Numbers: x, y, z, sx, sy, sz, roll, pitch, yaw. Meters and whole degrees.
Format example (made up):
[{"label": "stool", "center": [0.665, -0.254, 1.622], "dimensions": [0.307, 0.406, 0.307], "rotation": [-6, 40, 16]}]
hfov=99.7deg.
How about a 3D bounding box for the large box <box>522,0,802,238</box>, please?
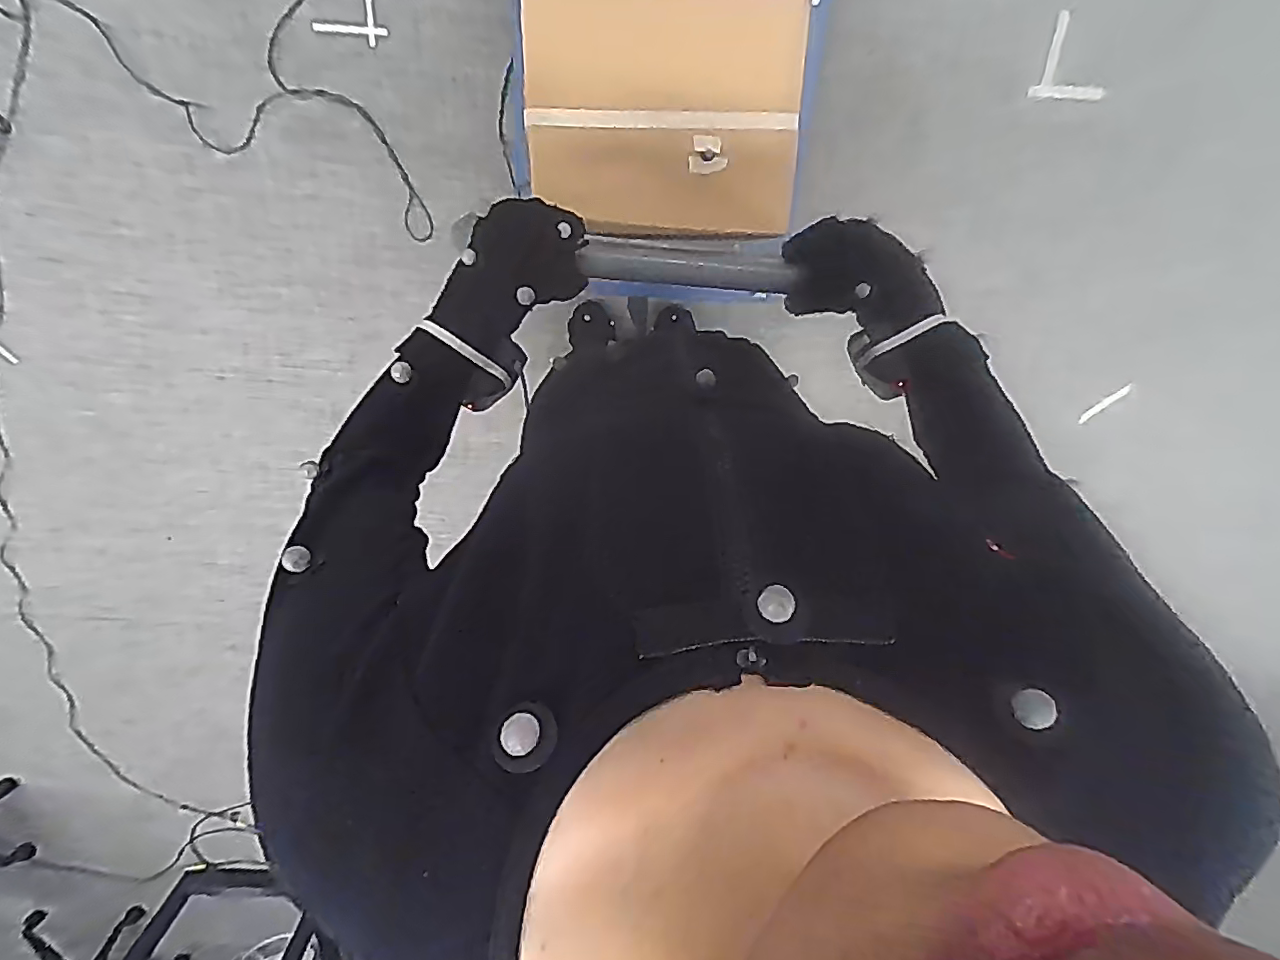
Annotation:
[{"label": "large box", "center": [0.025, -0.604, 0.952], "dimensions": [0.408, 0.320, 0.320], "rotation": [-1, 113, -3]}]
